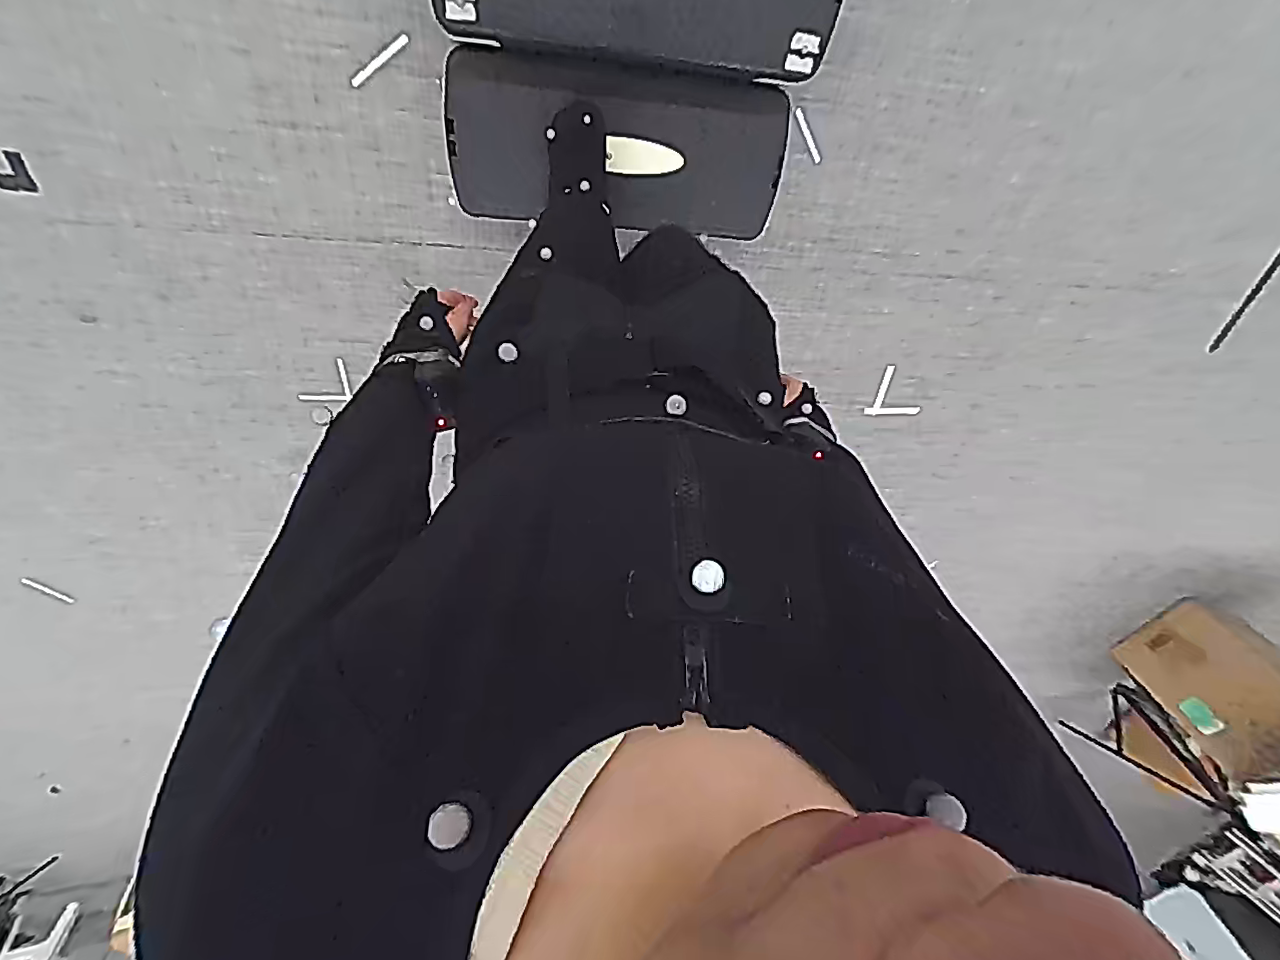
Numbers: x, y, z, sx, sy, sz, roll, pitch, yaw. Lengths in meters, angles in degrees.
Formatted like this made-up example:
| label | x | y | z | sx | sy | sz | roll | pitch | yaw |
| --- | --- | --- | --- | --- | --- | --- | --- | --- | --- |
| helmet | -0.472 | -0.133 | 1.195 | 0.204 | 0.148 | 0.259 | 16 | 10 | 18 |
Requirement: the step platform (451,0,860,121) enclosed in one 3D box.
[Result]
| label | x | y | z | sx | sy | sz | roll | pitch | yaw |
| --- | --- | --- | --- | --- | --- | --- | --- | --- | --- |
| step platform | 0.028 | -0.841 | 0.917 | 0.684 | 0.204 | 0.286 | 4 | 124 | -12 |
